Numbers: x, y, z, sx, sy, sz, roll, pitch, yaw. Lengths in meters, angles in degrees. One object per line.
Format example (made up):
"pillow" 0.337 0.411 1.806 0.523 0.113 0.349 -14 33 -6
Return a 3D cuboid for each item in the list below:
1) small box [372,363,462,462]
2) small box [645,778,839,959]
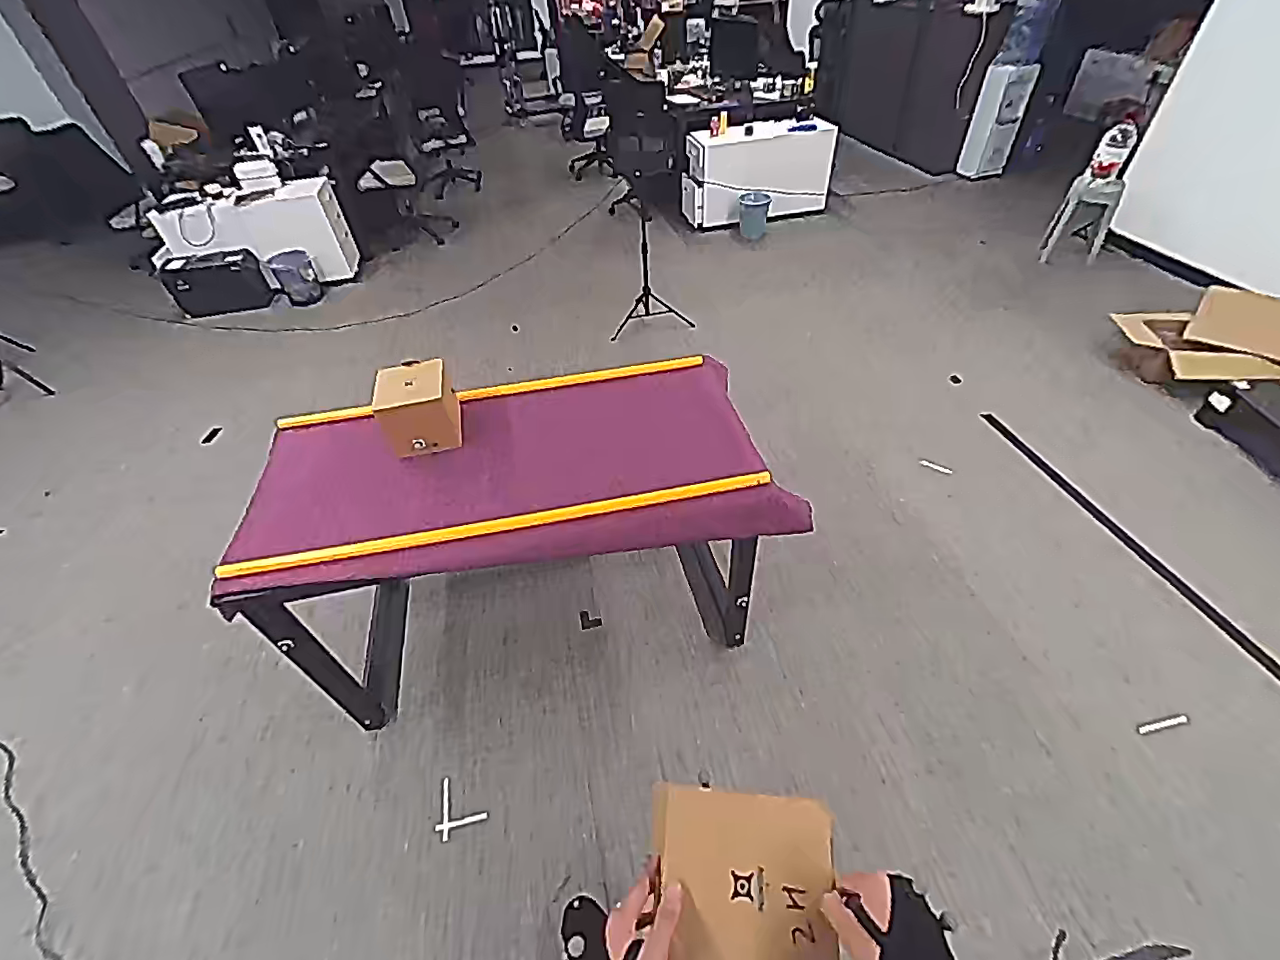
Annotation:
"small box" -0.564 -0.174 1.391 0.168 0.176 0.179 -13 46 -7
"small box" 0.101 0.436 0.603 0.179 0.176 0.168 7 61 -1
